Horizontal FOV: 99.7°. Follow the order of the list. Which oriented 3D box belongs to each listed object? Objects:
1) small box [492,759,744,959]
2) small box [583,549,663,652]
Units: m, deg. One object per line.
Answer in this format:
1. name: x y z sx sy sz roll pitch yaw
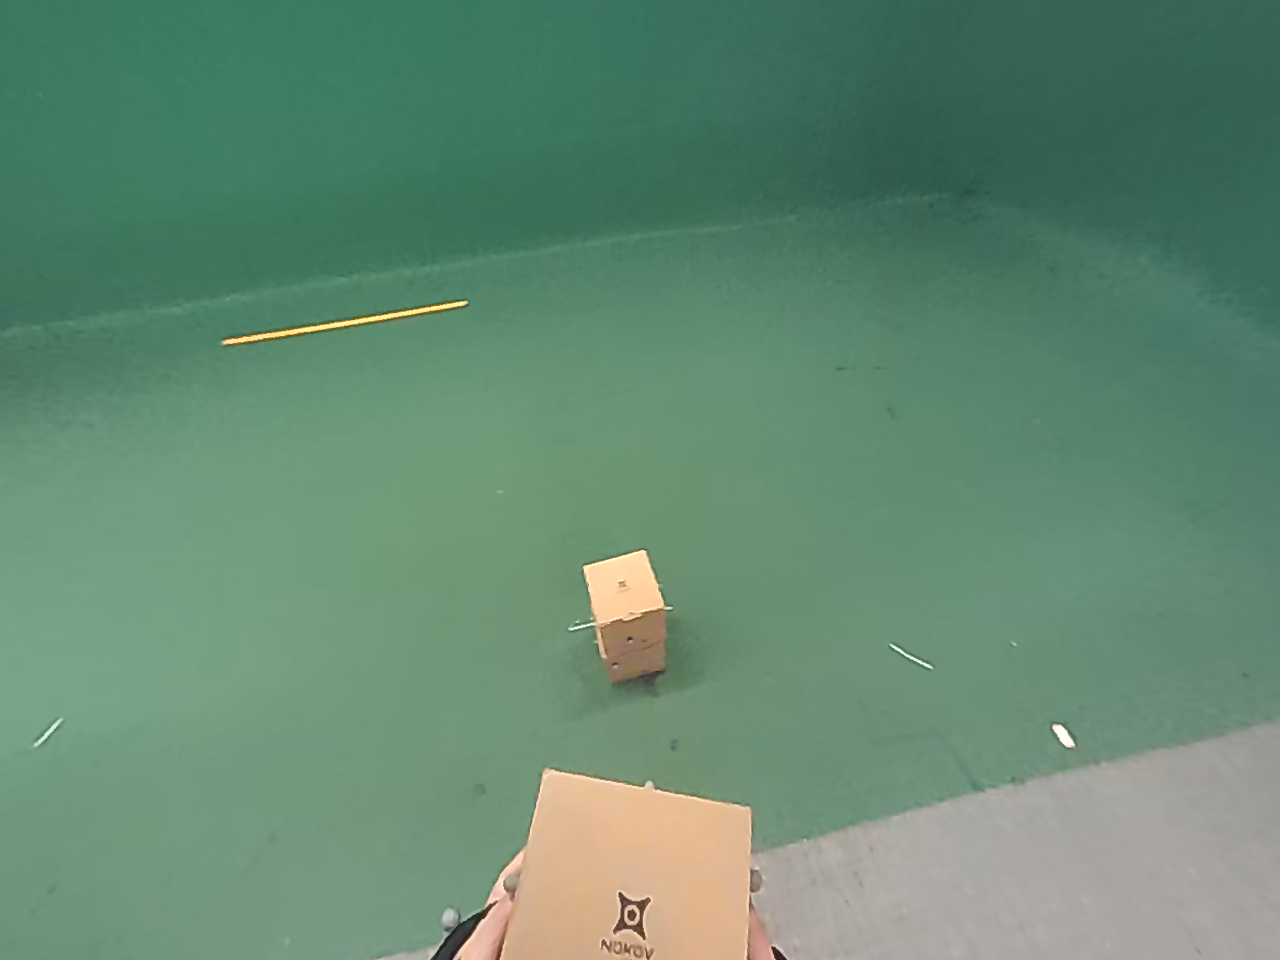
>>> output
1. small box: -0.017 0.349 0.437 0.168 0.176 0.179 9 54 3
2. small box: -0.043 0.309 1.386 0.168 0.176 0.179 -14 49 -9
